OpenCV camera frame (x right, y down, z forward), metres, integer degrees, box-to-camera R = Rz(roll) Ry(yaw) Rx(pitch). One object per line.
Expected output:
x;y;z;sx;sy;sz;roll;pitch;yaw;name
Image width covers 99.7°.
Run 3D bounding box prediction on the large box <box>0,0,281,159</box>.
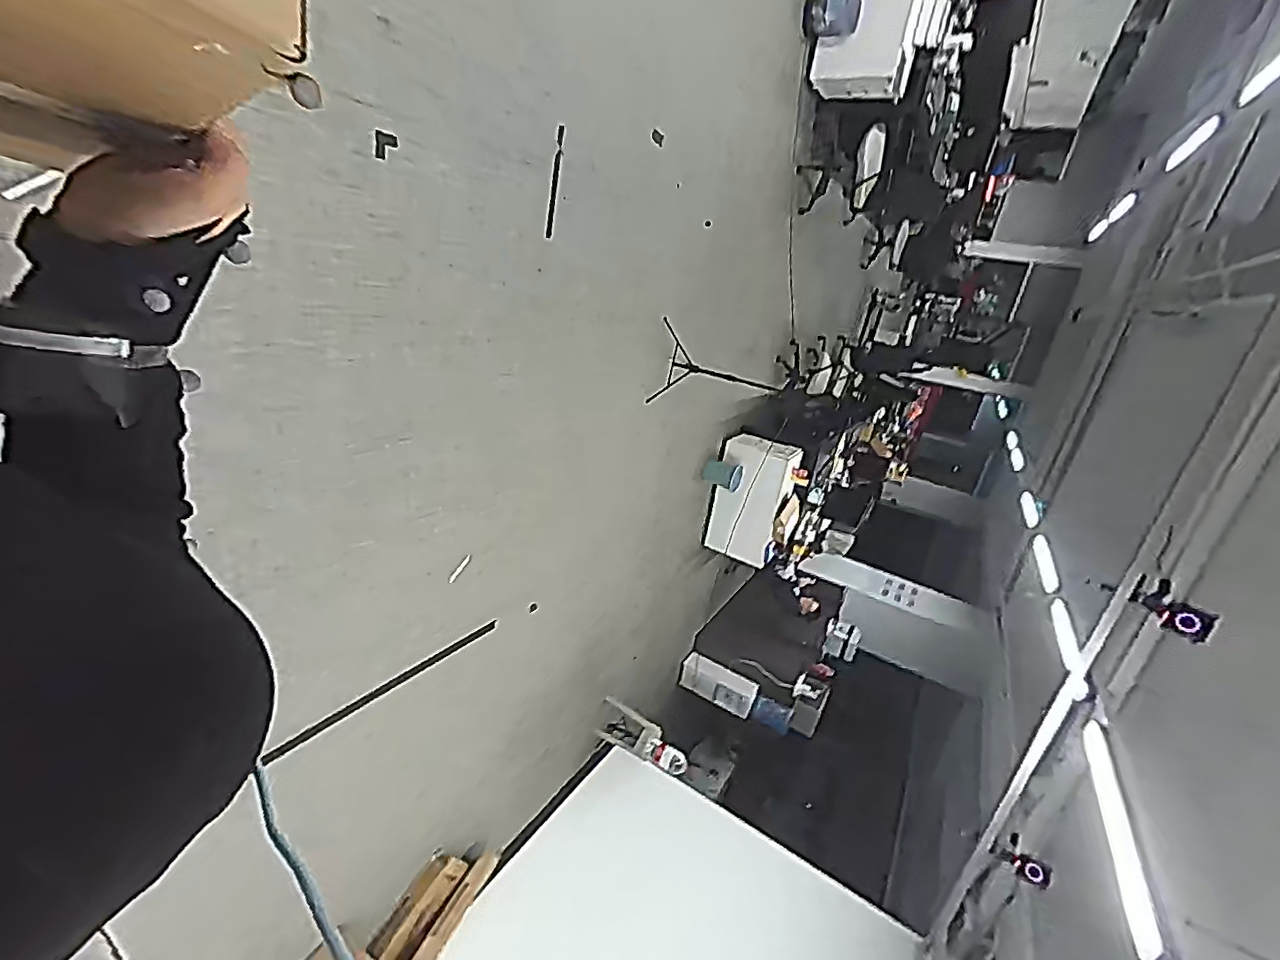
-0.371;-0.337;0.119;0.408;0.320;0.320;-9;107;-55;large box
